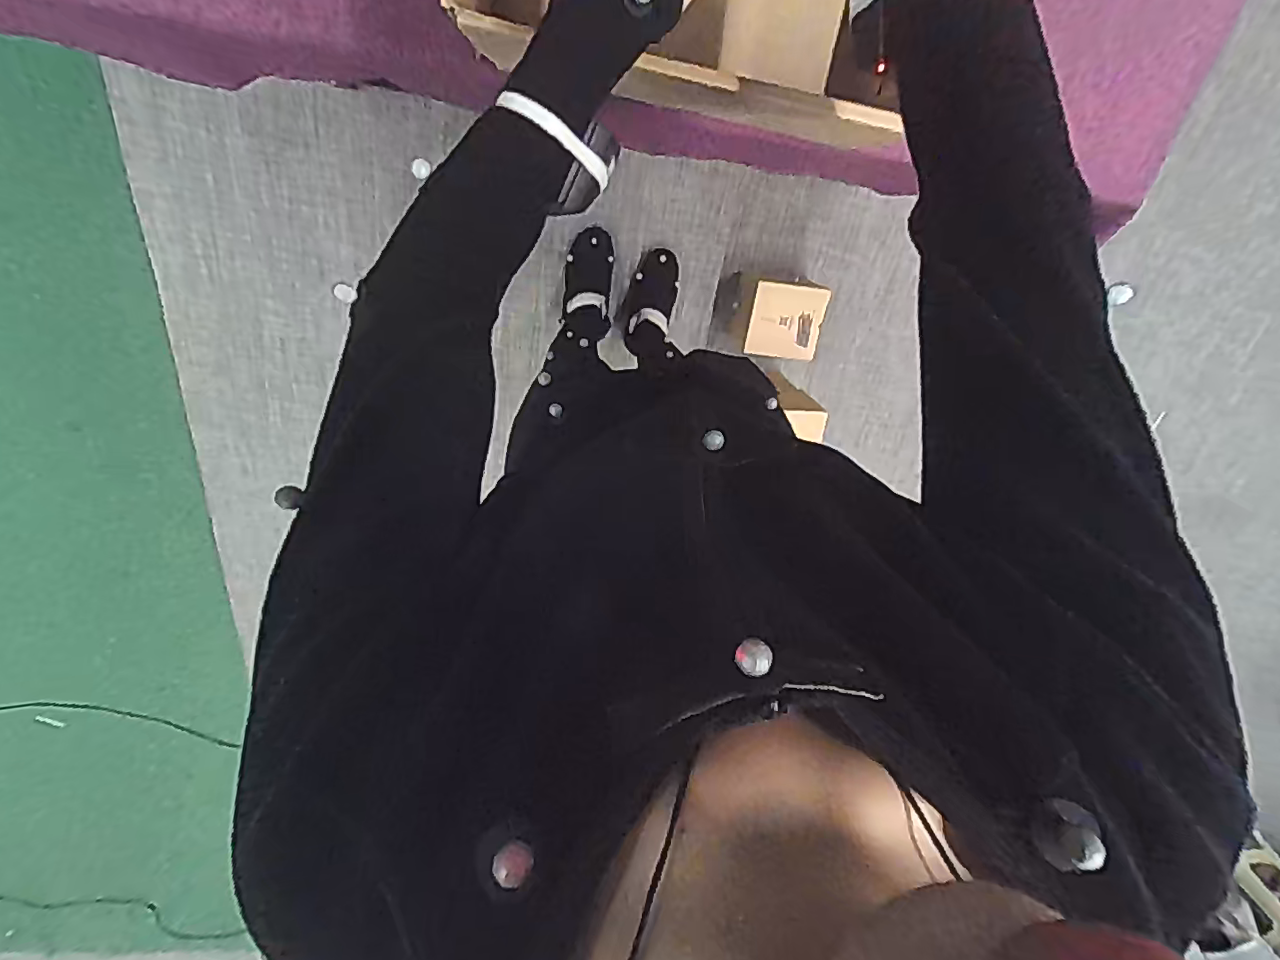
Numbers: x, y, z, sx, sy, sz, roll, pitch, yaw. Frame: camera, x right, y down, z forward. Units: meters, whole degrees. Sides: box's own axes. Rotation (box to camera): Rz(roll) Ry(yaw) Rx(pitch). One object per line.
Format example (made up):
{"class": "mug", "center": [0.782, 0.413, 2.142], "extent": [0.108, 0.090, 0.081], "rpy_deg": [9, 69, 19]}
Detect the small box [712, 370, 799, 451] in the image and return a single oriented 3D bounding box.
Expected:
{"class": "small box", "center": [0.297, -0.189, 1.439], "extent": [0.179, 0.176, 0.168], "rpy_deg": [1, 118, -6]}
